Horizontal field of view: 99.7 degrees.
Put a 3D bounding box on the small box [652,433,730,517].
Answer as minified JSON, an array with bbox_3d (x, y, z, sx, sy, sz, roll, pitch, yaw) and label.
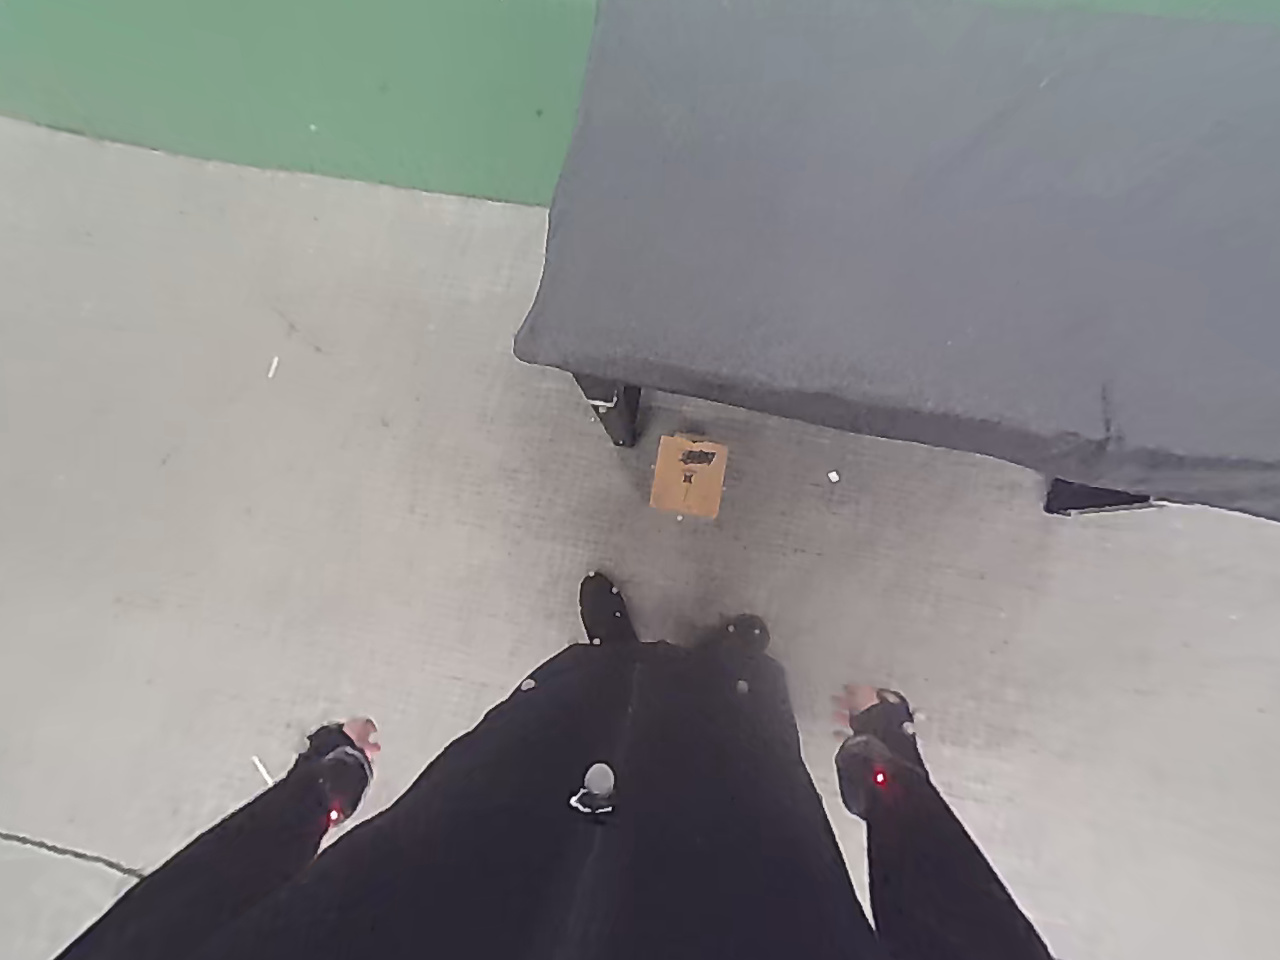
[{"bbox_3d":[0.125,-0.008,1.354,0.168,0.176,0.179,8,85,5],"label":"small box"}]
